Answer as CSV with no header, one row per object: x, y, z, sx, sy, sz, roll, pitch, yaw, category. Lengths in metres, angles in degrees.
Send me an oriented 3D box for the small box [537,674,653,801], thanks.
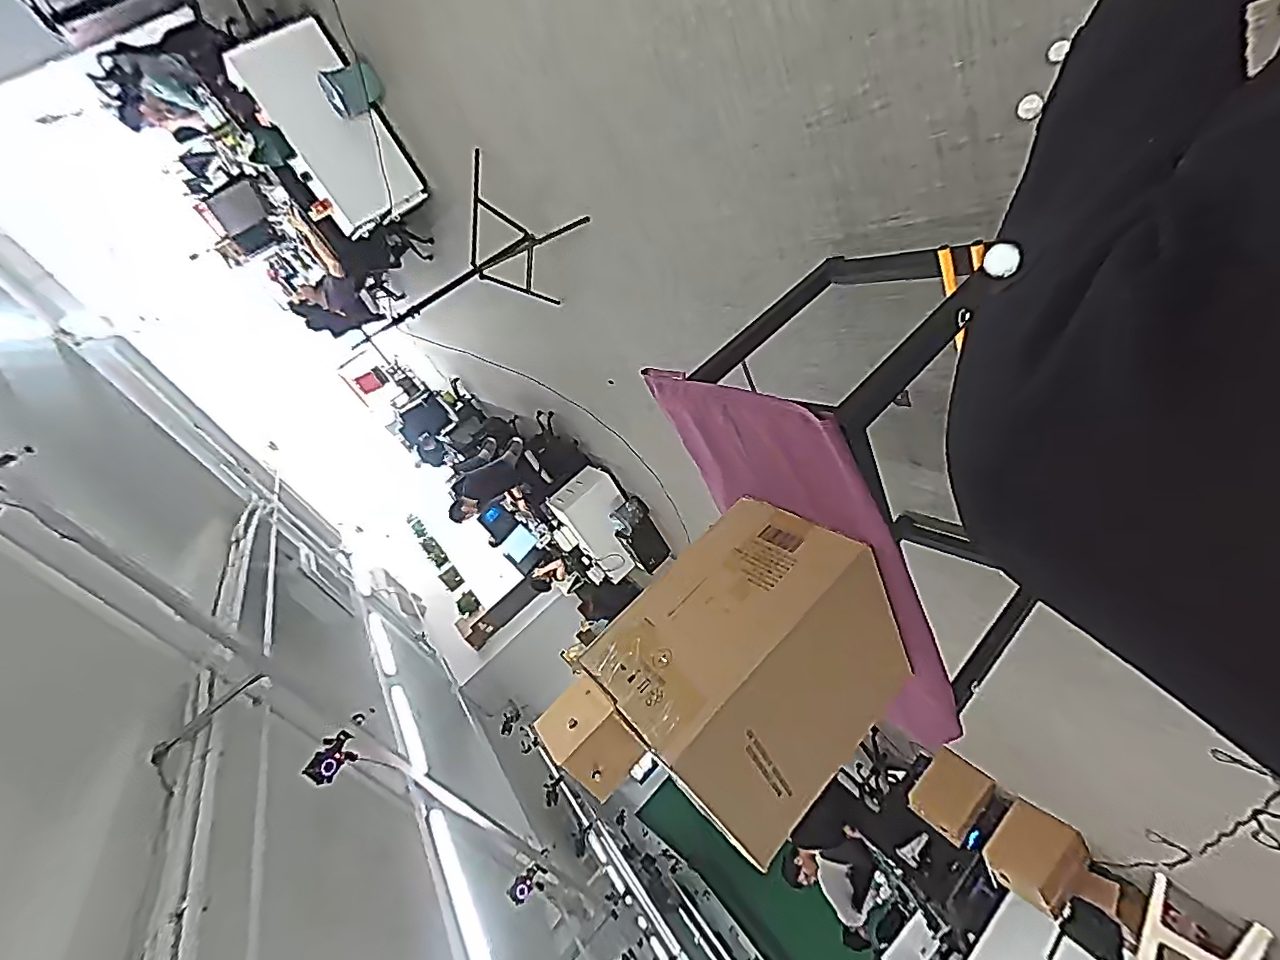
-0.103,0.594,1.268,0.179,0.176,0.168,55,162,-27,small box
